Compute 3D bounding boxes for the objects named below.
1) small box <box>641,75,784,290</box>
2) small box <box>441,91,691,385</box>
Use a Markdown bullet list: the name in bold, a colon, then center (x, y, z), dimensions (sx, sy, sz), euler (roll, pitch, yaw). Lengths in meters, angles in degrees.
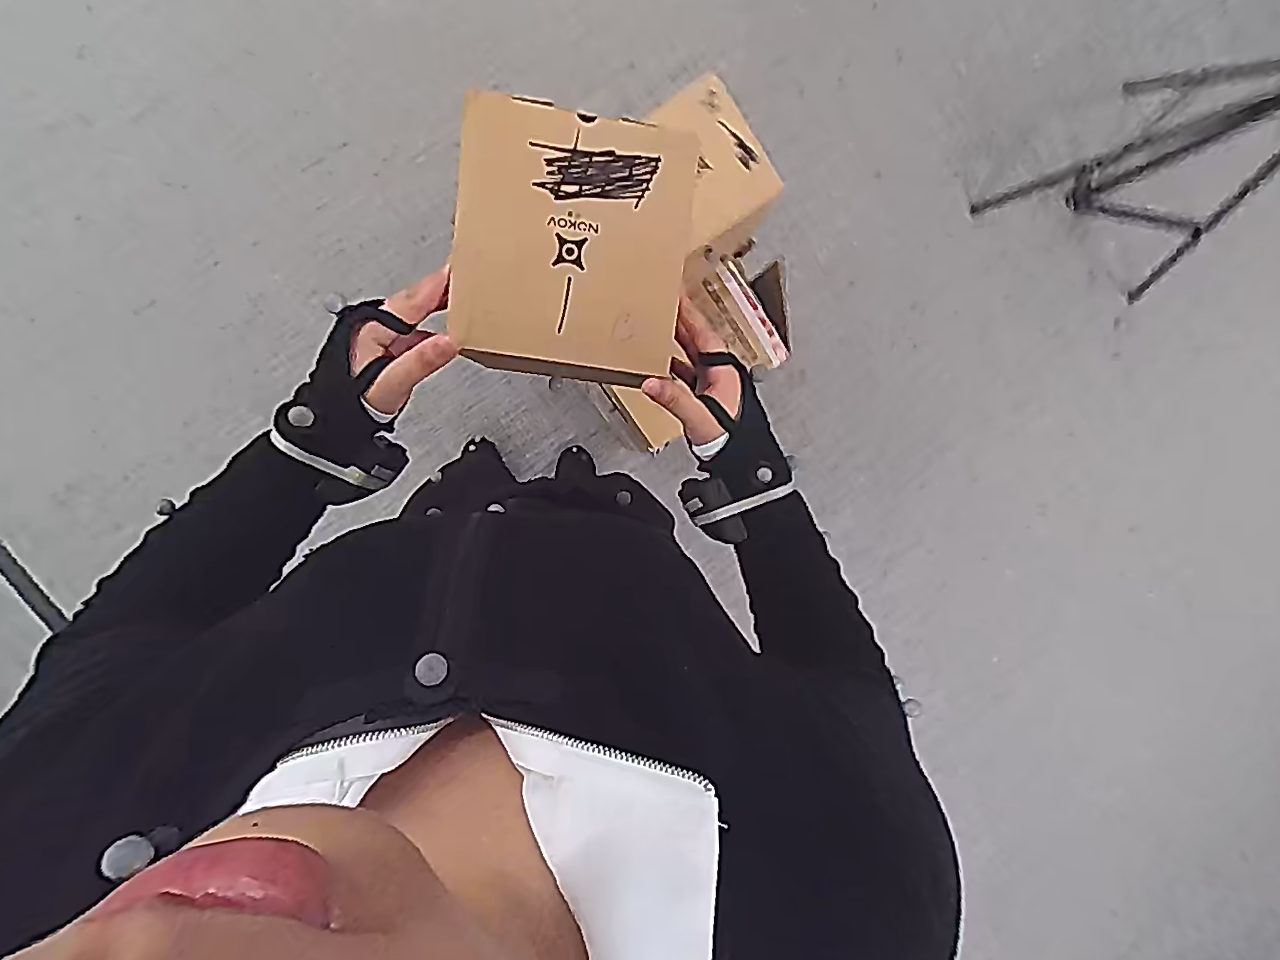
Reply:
- **small box**: center (0.062, -0.388, 0.747), dimensions (0.179, 0.176, 0.168), euler (-34, 96, -1)
- **small box**: center (-0.061, -0.183, 0.467), dimensions (0.168, 0.176, 0.179), euler (6, 97, -6)
